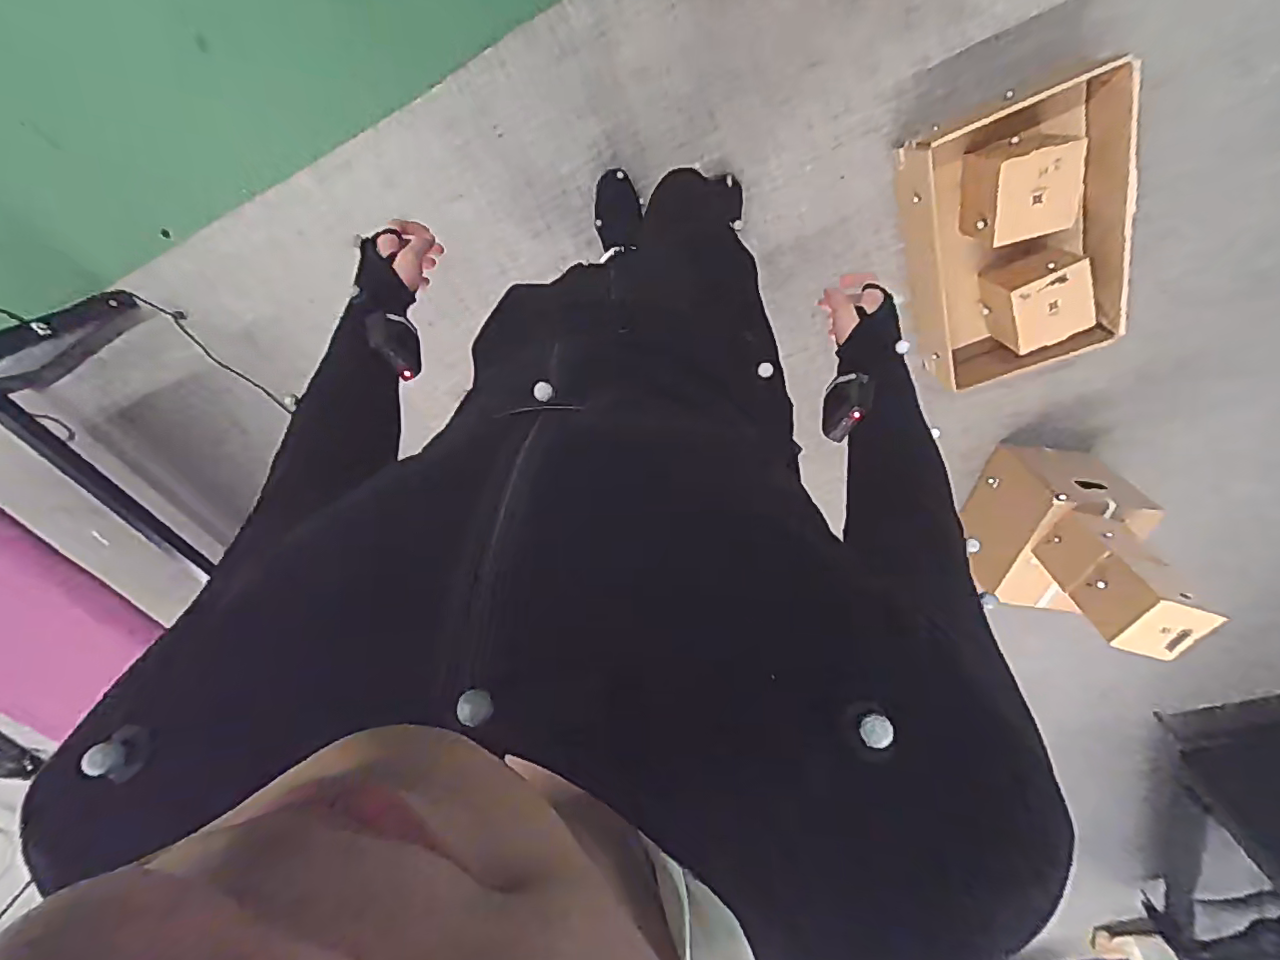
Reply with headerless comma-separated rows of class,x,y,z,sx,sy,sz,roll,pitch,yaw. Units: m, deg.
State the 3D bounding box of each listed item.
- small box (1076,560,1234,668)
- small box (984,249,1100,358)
small box,1.227,0.318,1.304,0.179,0.176,0.168,16,123,-6
small box,0.977,-0.434,1.320,0.168,0.176,0.179,-23,120,18
